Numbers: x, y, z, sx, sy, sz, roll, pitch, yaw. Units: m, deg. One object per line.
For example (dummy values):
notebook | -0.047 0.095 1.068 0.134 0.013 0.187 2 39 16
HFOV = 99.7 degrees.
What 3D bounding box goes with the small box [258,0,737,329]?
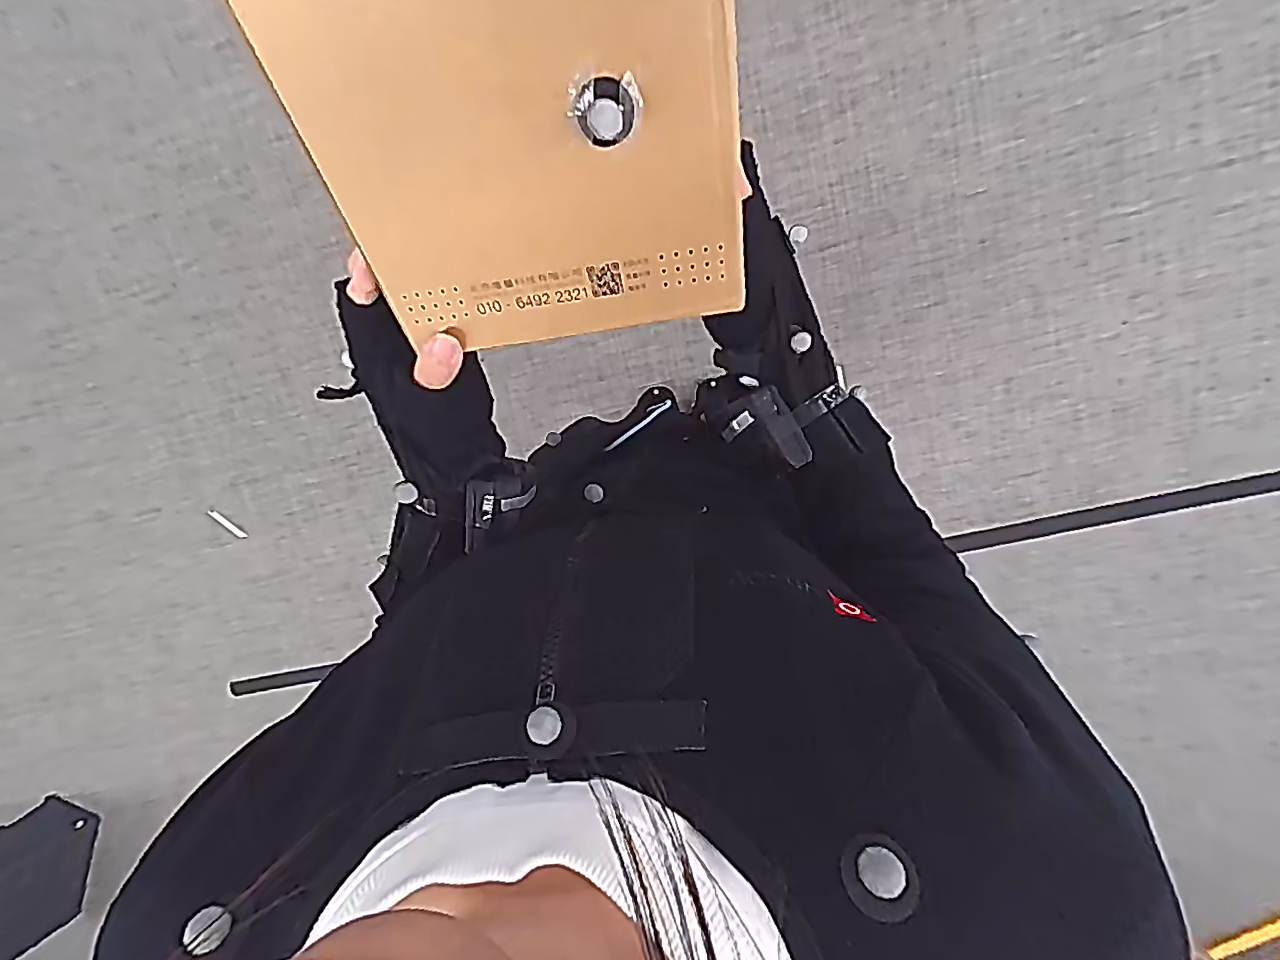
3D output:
small box | -0.041 -0.193 0.285 0.168 0.179 0.176 -5 135 8
